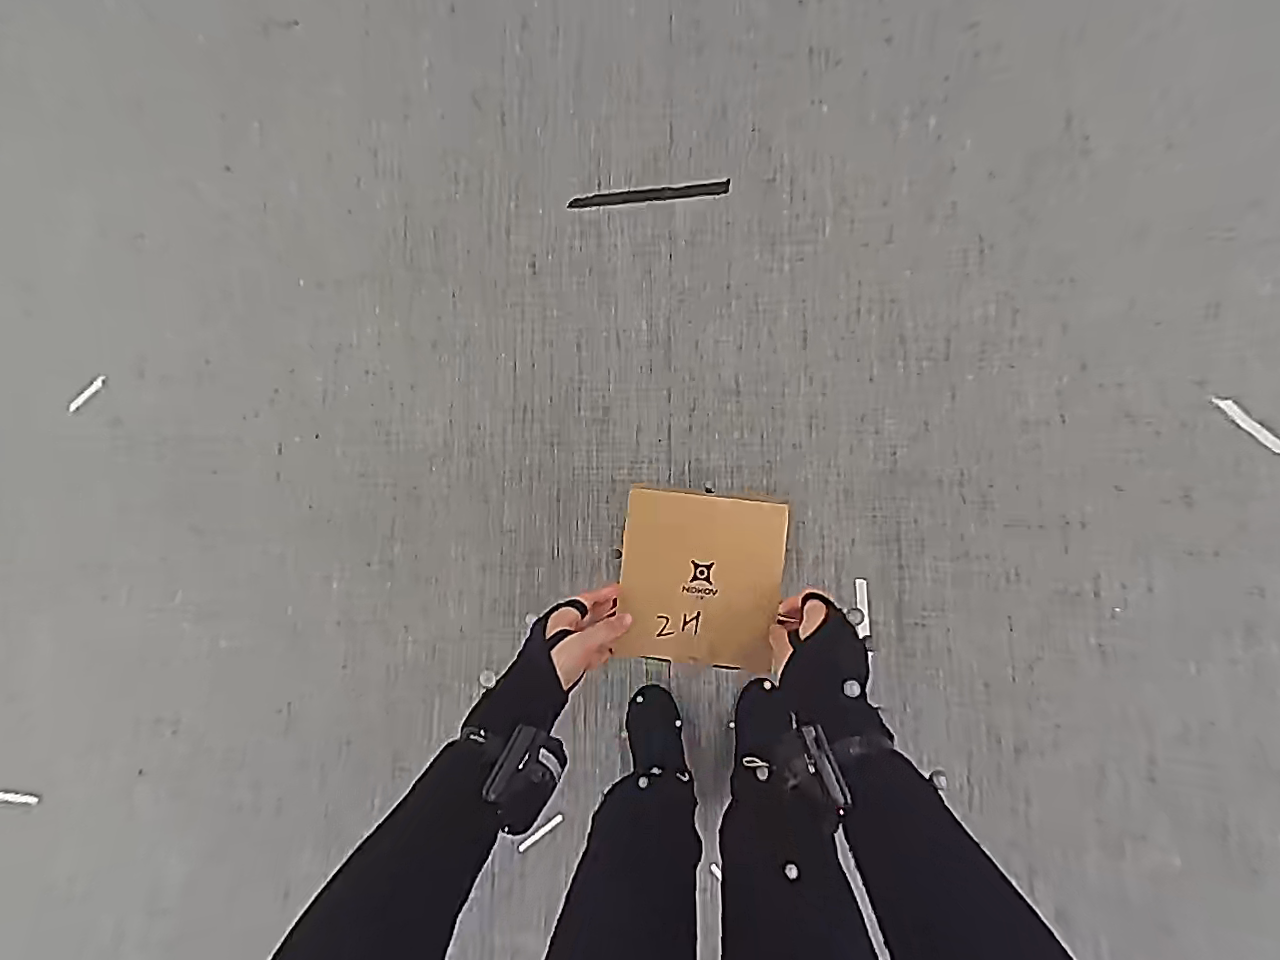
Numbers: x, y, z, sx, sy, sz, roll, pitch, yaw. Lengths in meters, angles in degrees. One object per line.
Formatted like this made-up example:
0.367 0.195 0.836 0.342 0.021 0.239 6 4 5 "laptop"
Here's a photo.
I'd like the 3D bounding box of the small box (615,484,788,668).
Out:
0.065 0.099 0.638 0.168 0.176 0.179 6 90 2 "small box"
